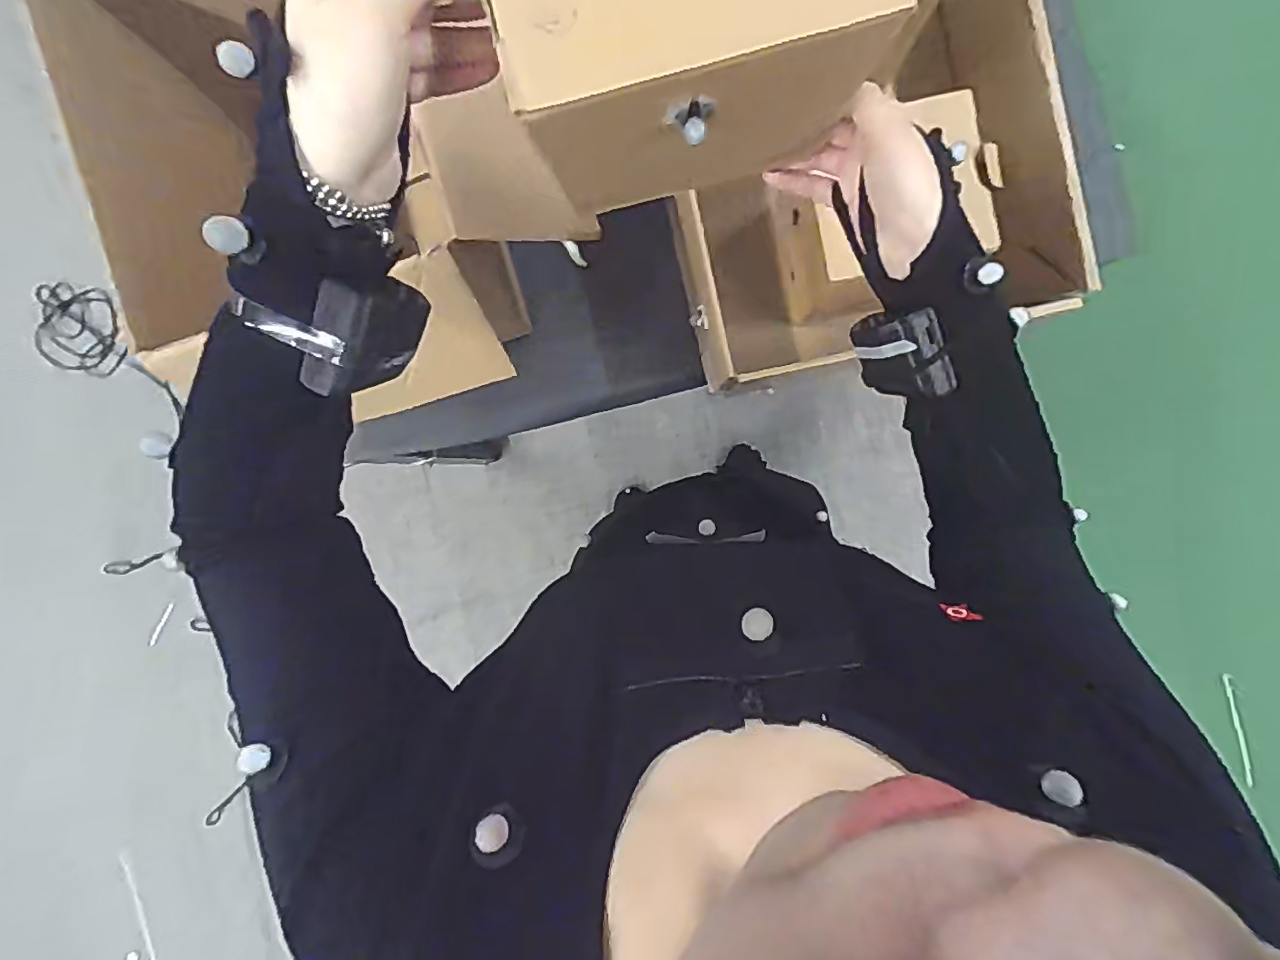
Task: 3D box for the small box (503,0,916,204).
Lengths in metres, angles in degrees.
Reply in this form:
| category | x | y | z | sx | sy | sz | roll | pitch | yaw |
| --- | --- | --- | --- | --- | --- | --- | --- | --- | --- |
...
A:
| category | x | y | z | sx | sy | sz | roll | pitch | yaw |
| --- | --- | --- | --- | --- | --- | --- | --- | --- | --- |
| small box | 0.023 | -0.274 | 0.296 | 0.179 | 0.176 | 0.168 | -11 | 101 | 6 |
